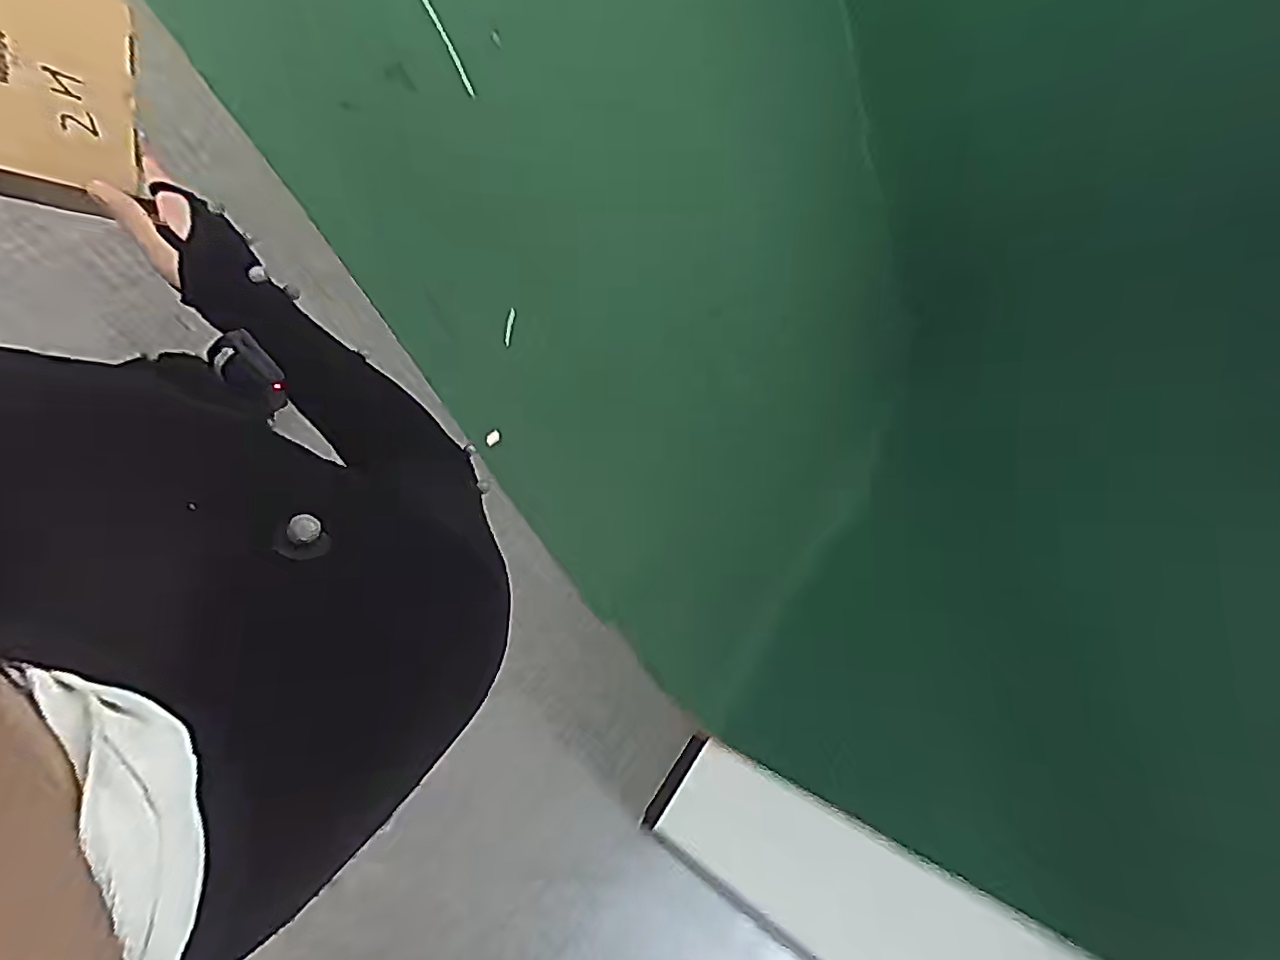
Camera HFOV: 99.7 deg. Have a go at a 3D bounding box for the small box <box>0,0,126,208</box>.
[{"bbox_3d":[-0.565,-0.346,0.459,0.179,0.176,0.168,-5,107,-46],"label":"small box"}]
